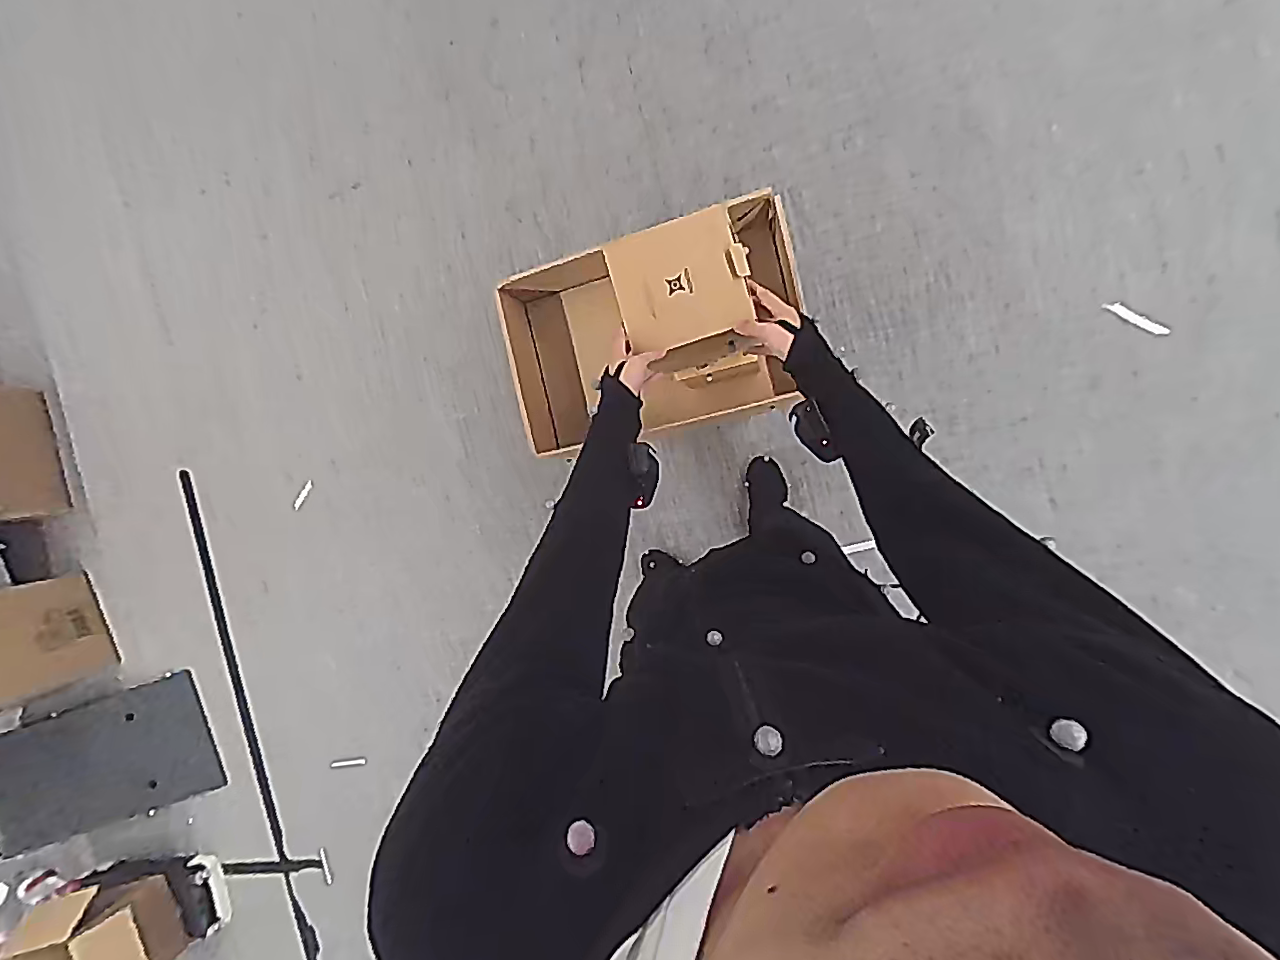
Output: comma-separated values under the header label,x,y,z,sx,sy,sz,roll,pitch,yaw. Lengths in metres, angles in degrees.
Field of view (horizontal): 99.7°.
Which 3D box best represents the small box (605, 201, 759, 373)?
label,x,y,z,sx,sy,sz,roll,pitch,yaw
small box,0.070,-0.269,0.796,0.179,0.176,0.168,-16,89,14
